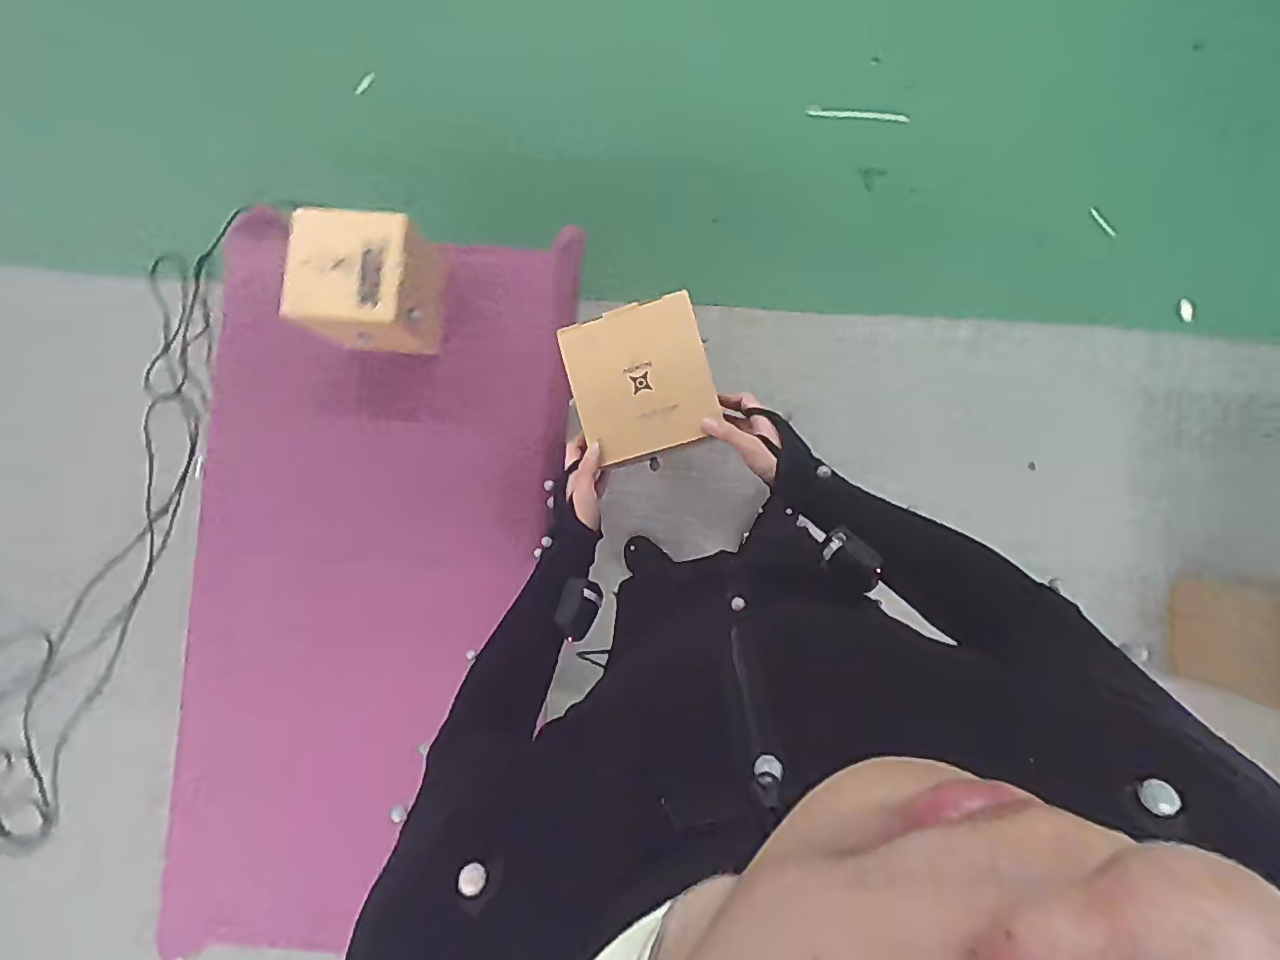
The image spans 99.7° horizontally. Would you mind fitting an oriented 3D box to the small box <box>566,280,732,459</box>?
[{"bbox_3d":[0.015,-0.131,0.709,0.168,0.176,0.179,-14,90,5],"label":"small box"}]
